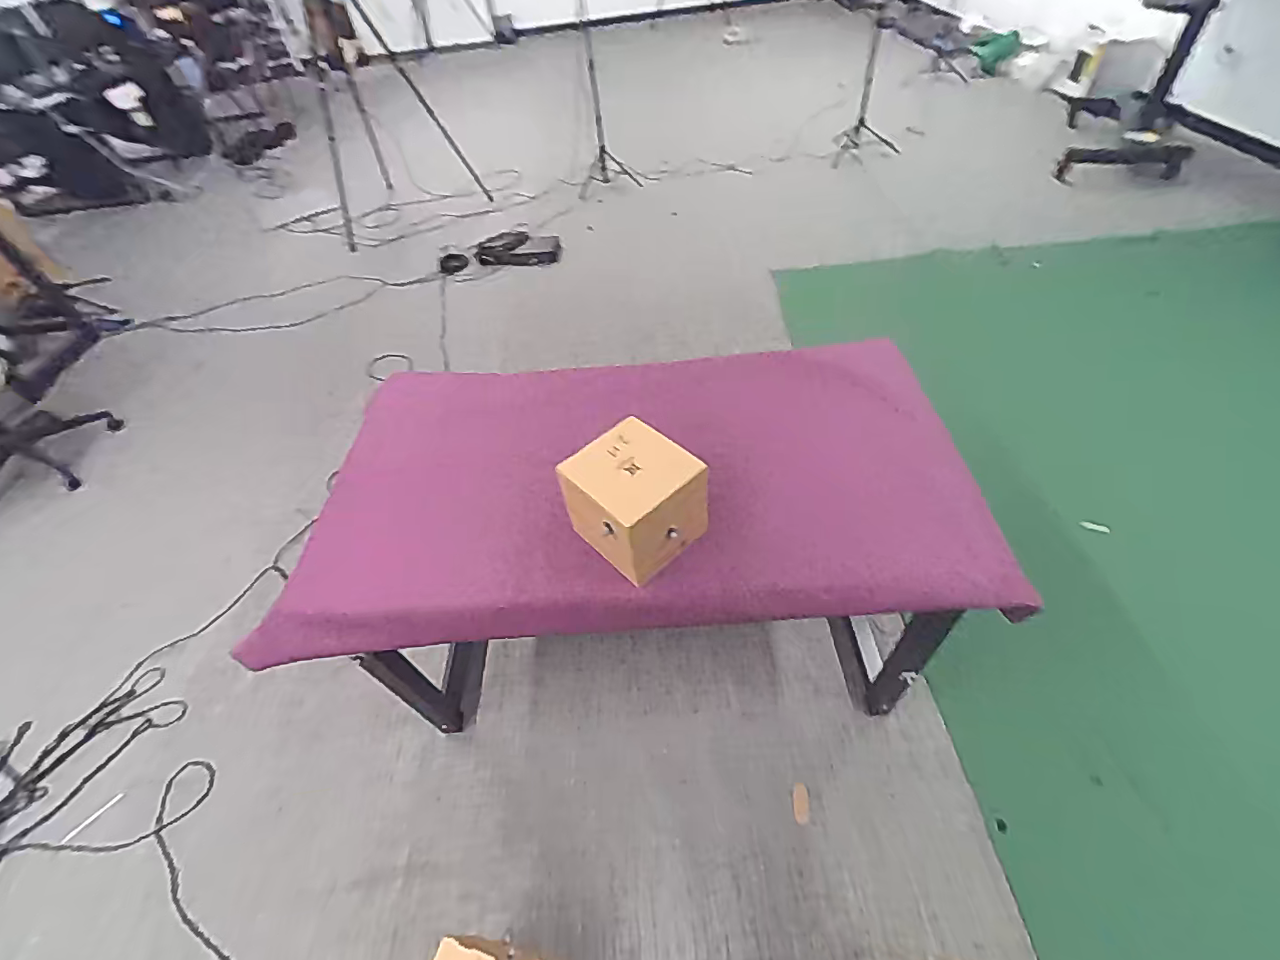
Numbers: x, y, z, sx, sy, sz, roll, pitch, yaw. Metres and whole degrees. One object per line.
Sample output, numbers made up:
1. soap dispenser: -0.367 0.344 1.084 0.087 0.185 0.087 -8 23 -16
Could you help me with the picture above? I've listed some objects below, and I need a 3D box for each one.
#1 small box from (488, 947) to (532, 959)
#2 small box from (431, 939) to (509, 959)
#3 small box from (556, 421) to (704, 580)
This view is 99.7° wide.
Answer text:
1. small box: -0.265 1.022 1.031 0.168 0.176 0.179 7 50 13
2. small box: -0.287 0.918 0.911 0.168 0.176 0.179 11 51 17
3. small box: -0.009 0.040 0.893 0.168 0.176 0.179 -36 53 -24
